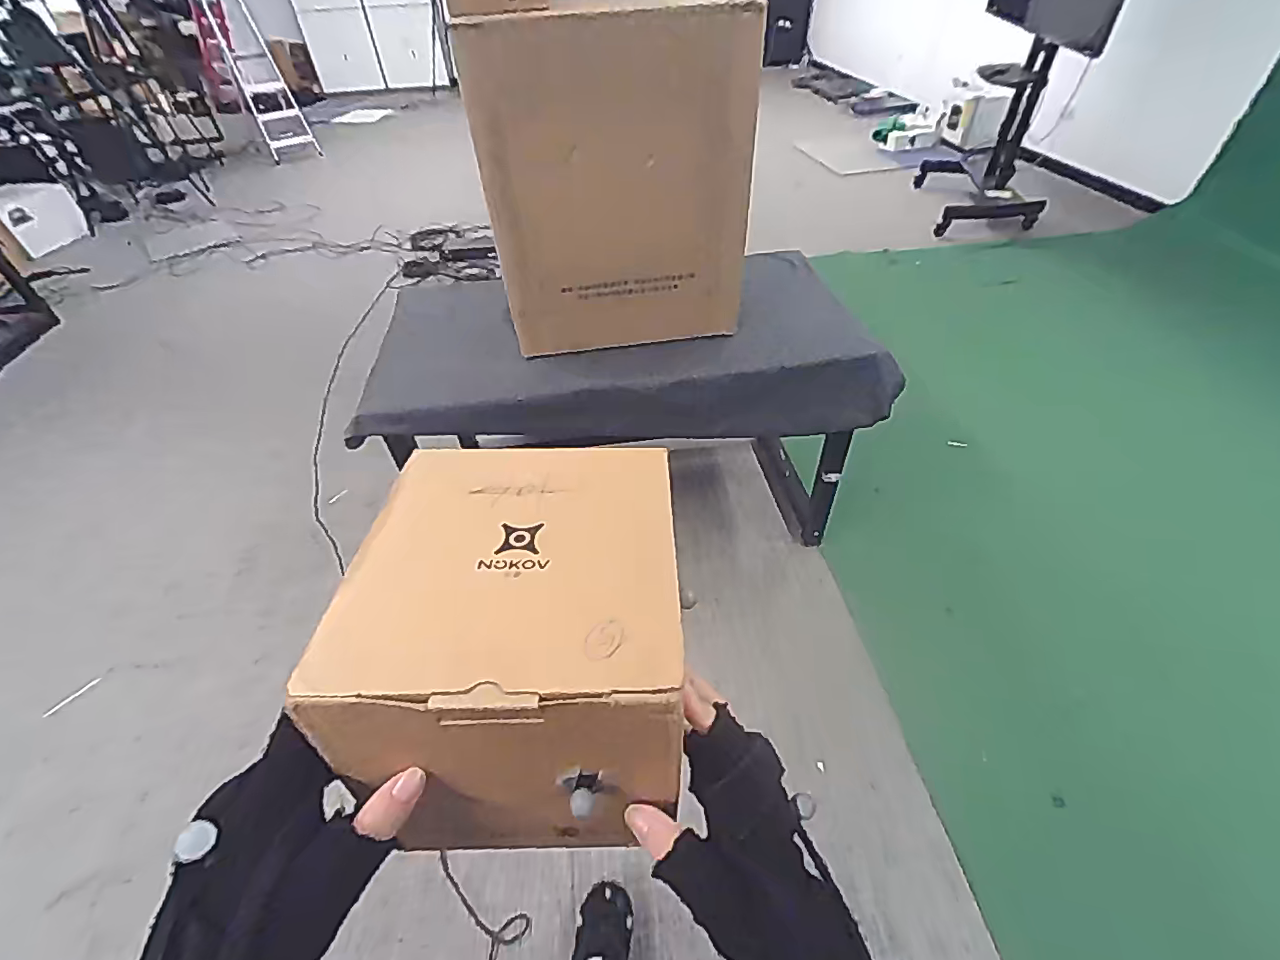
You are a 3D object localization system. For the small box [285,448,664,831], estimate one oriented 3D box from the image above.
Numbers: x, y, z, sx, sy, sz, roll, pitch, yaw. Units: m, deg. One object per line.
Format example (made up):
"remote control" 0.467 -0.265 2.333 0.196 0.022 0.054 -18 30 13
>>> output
"small box" -0.069 0.096 0.341 0.168 0.176 0.179 1 37 0

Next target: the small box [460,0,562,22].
"small box" -0.221 -0.867 0.882 0.168 0.176 0.179 -7 47 -3
